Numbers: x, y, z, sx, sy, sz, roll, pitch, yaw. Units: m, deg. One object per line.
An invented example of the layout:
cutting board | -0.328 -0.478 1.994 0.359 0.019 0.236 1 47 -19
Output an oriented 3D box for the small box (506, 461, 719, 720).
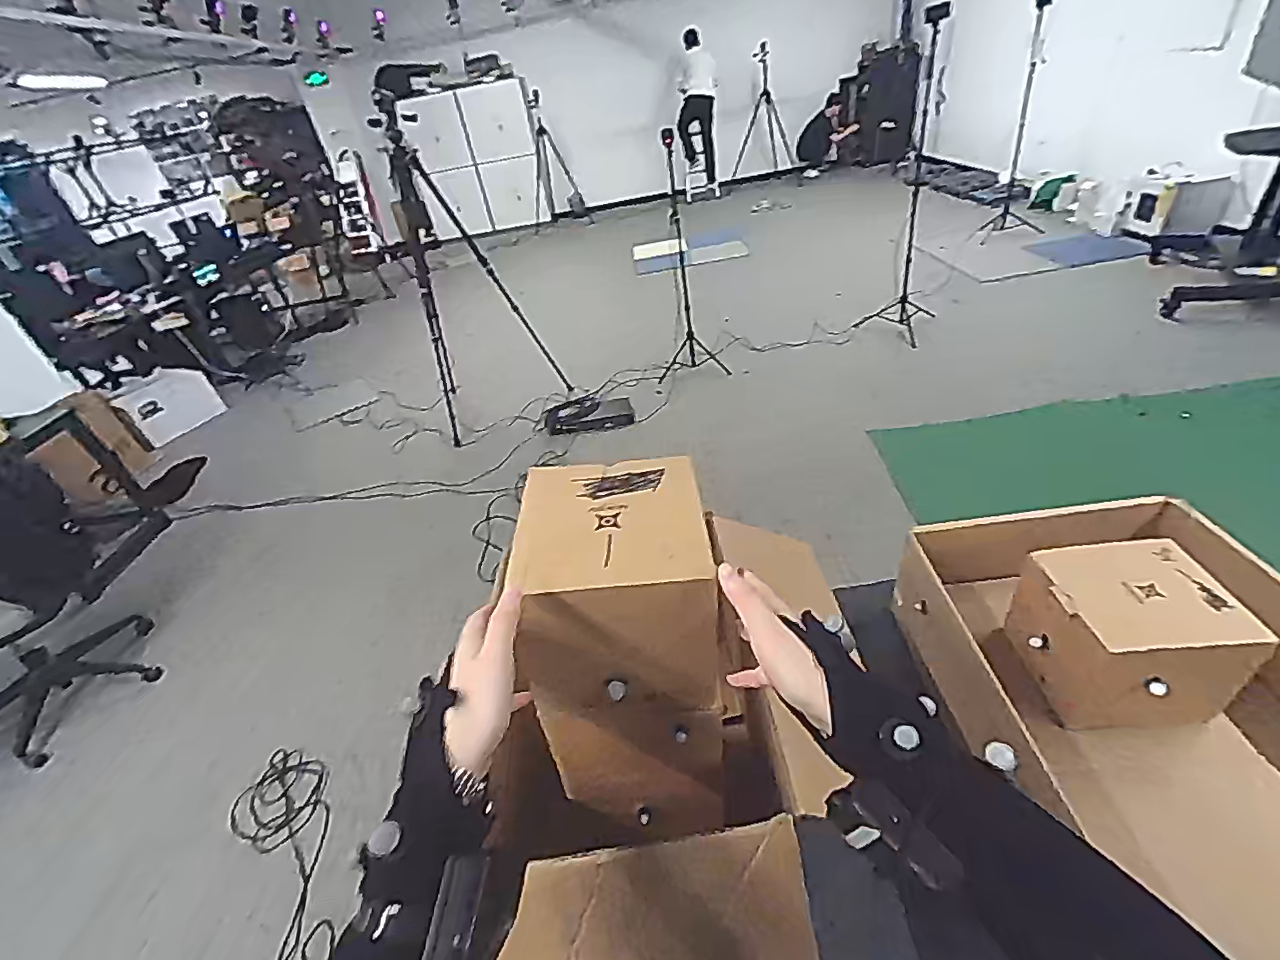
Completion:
small box | -0.019 0.102 0.524 0.168 0.176 0.179 -5 35 1

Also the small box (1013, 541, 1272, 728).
small box | 0.622 0.205 0.707 0.179 0.176 0.168 -8 37 8
